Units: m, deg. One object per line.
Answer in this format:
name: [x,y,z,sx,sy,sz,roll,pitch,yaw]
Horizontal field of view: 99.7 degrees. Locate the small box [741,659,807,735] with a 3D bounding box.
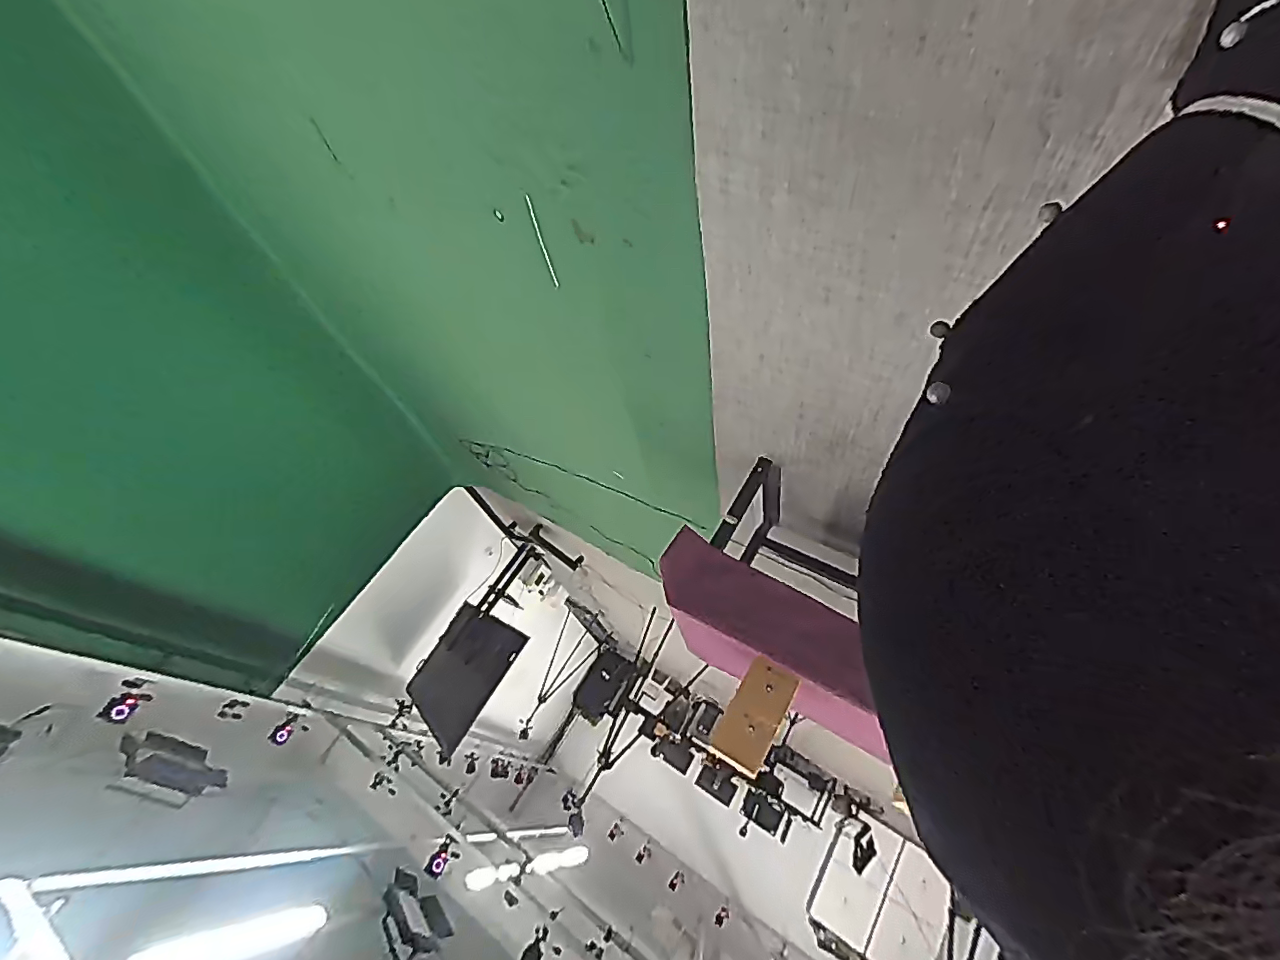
small box: [0.453,0.731,1.829,0.168,0.176,0.179,24,156,24]

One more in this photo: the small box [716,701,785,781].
small box: [0.364,0.858,1.777,0.168,0.176,0.179,24,155,24]
